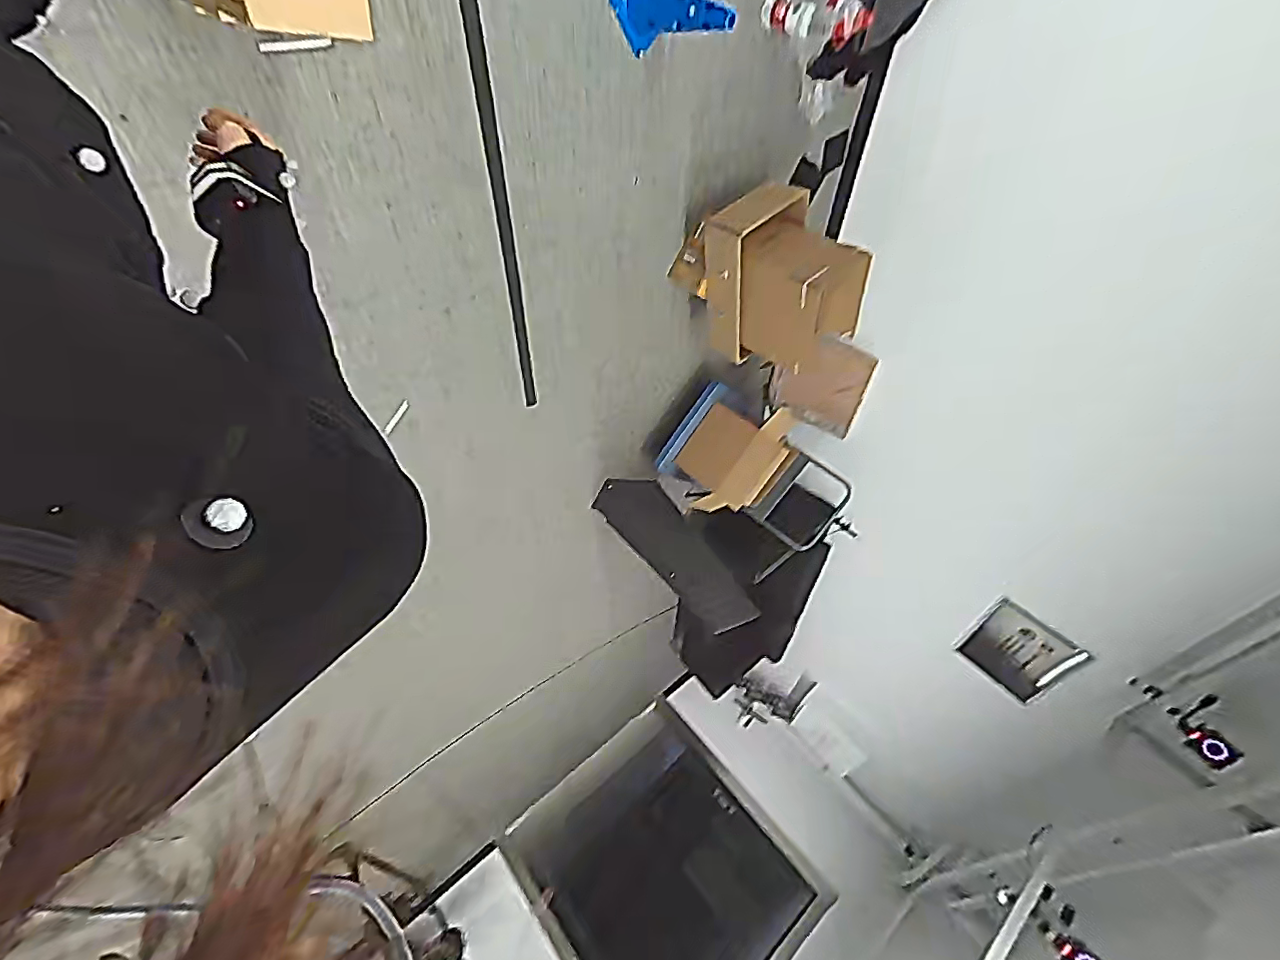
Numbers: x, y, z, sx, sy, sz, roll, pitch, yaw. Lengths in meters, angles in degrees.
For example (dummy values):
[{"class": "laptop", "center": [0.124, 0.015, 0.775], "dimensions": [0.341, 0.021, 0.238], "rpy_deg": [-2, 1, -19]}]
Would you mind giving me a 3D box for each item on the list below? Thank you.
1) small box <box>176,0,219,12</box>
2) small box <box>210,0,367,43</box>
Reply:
[{"class": "small box", "center": [-0.764, -0.951, 0.965], "dimensions": [0.179, 0.176, 0.168], "rpy_deg": [-29, 145, -30]}, {"class": "small box", "center": [-0.538, -0.775, 0.800], "dimensions": [0.179, 0.176, 0.168], "rpy_deg": [-25, 143, -35]}]
